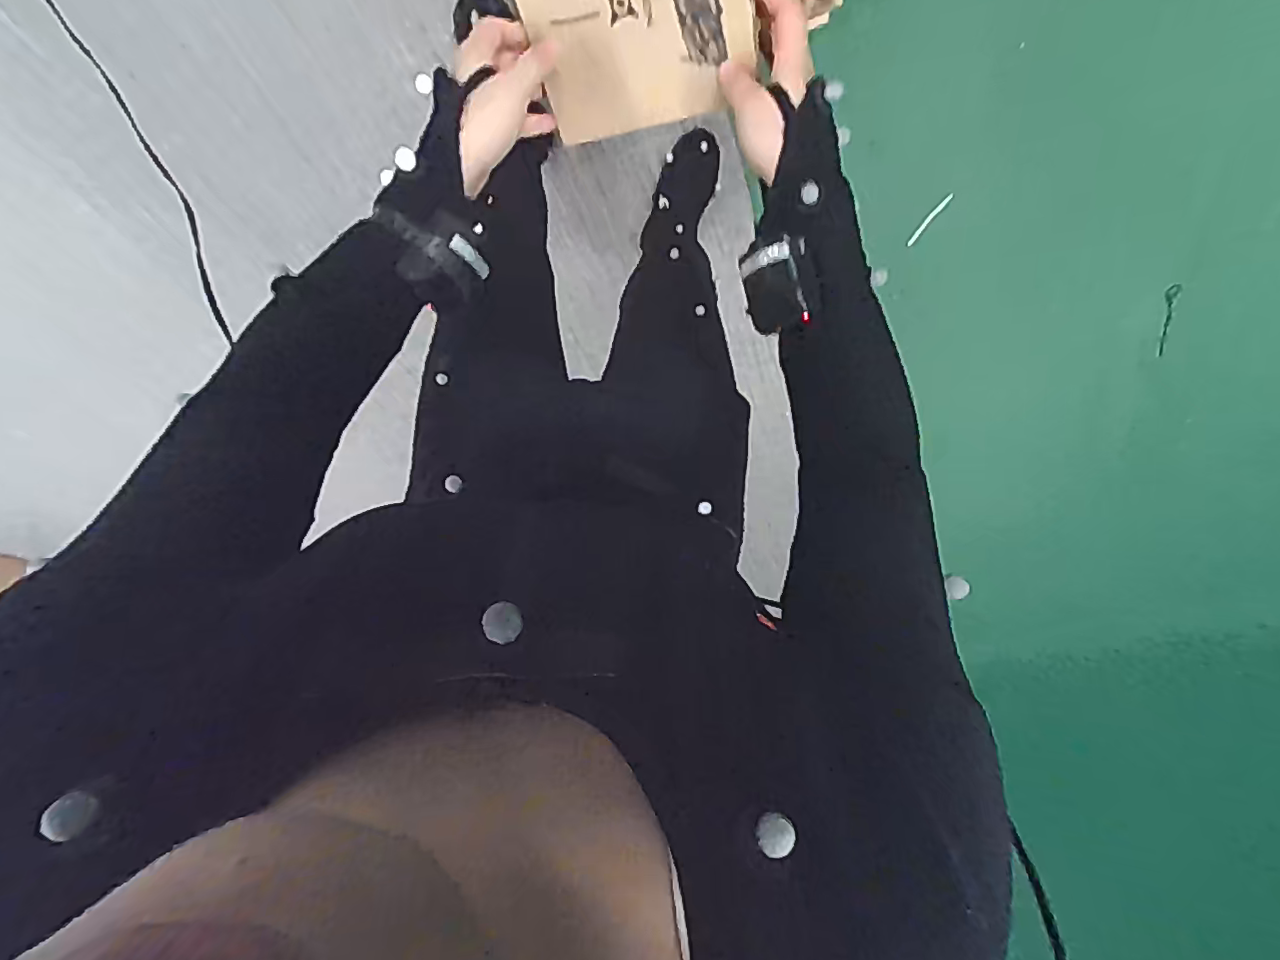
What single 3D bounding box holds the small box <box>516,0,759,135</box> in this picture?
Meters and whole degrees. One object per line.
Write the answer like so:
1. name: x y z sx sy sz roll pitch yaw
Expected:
1. small box: 0.003 -0.426 0.446 0.179 0.176 0.168 -2 143 18
